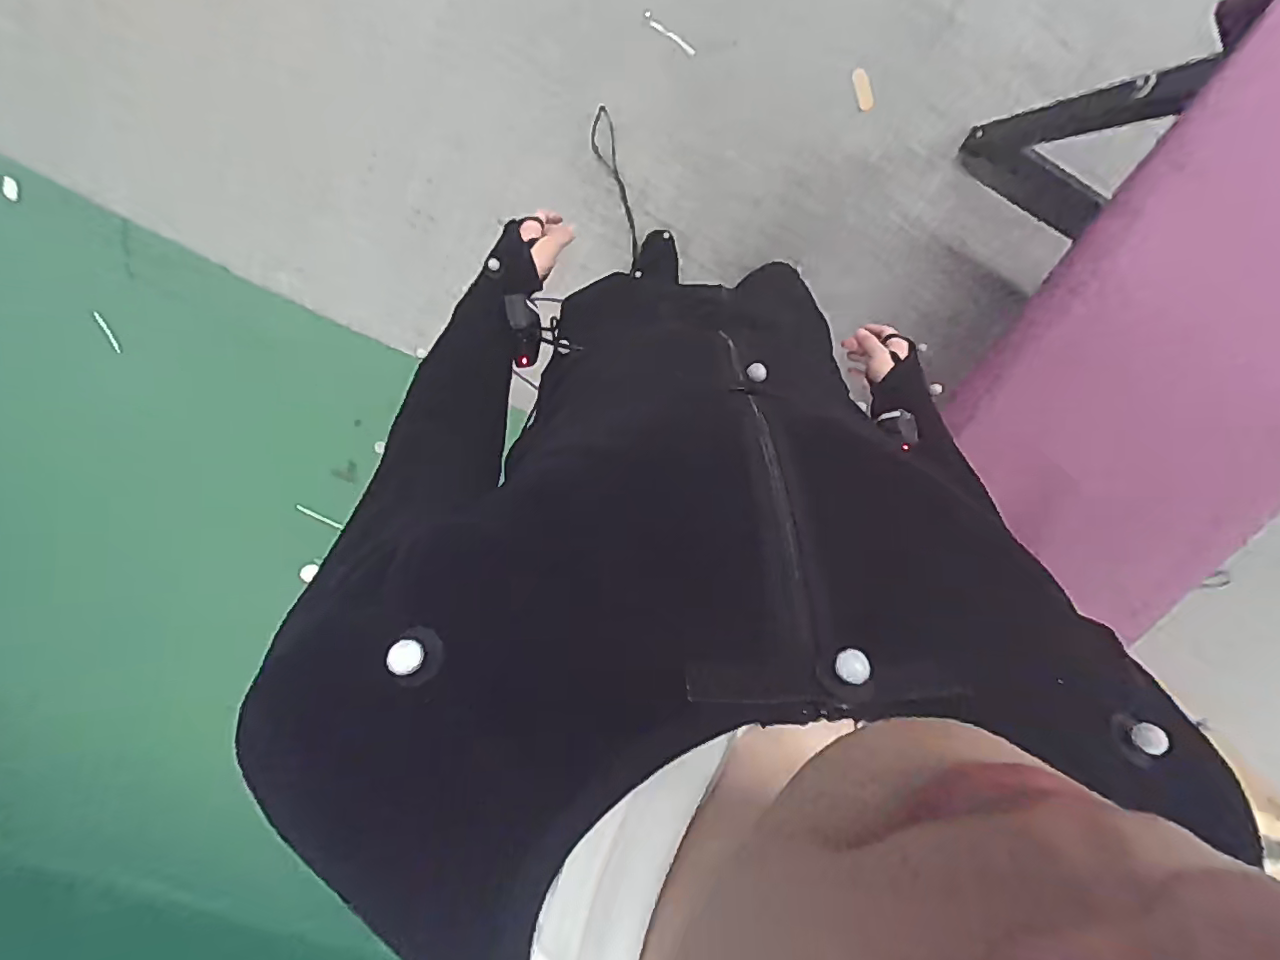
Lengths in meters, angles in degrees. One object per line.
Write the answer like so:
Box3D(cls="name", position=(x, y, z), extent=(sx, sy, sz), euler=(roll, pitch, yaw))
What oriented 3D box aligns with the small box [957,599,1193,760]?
Box3D(cls="small box", position=(0.619, 0.308, 0.798), extent=(0.168, 0.176, 0.179), euler=(26, 113, -11))
